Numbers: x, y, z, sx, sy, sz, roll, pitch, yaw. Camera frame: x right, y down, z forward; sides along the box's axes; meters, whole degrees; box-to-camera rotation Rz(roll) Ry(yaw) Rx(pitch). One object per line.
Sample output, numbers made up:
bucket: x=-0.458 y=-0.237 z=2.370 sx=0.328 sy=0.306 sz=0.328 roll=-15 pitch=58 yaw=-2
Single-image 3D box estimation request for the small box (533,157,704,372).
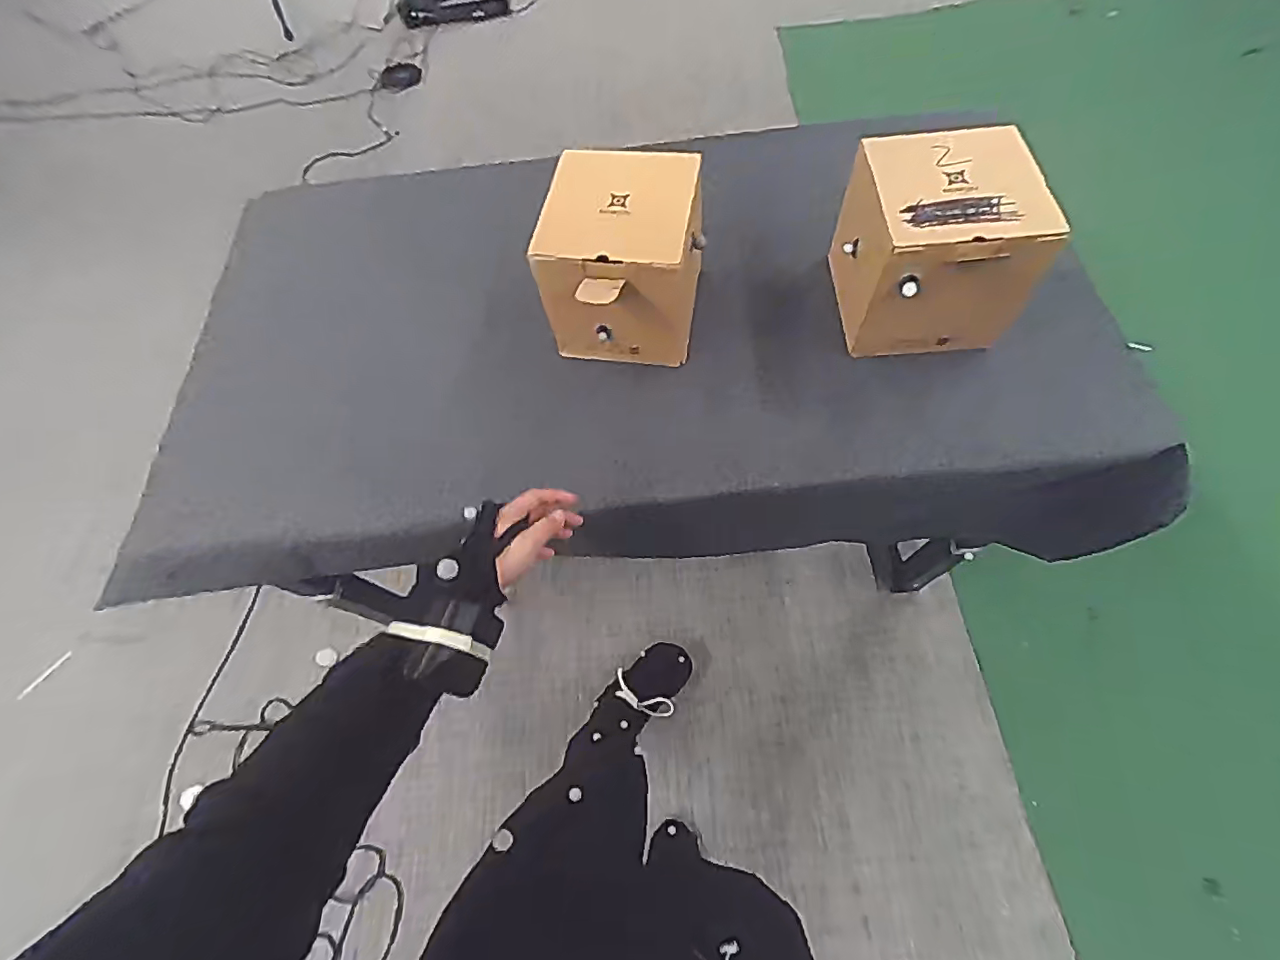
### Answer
small box: x=-0.016 y=-0.261 z=0.668 sx=0.168 sy=0.176 sz=0.179 roll=7 pitch=66 yaw=8
